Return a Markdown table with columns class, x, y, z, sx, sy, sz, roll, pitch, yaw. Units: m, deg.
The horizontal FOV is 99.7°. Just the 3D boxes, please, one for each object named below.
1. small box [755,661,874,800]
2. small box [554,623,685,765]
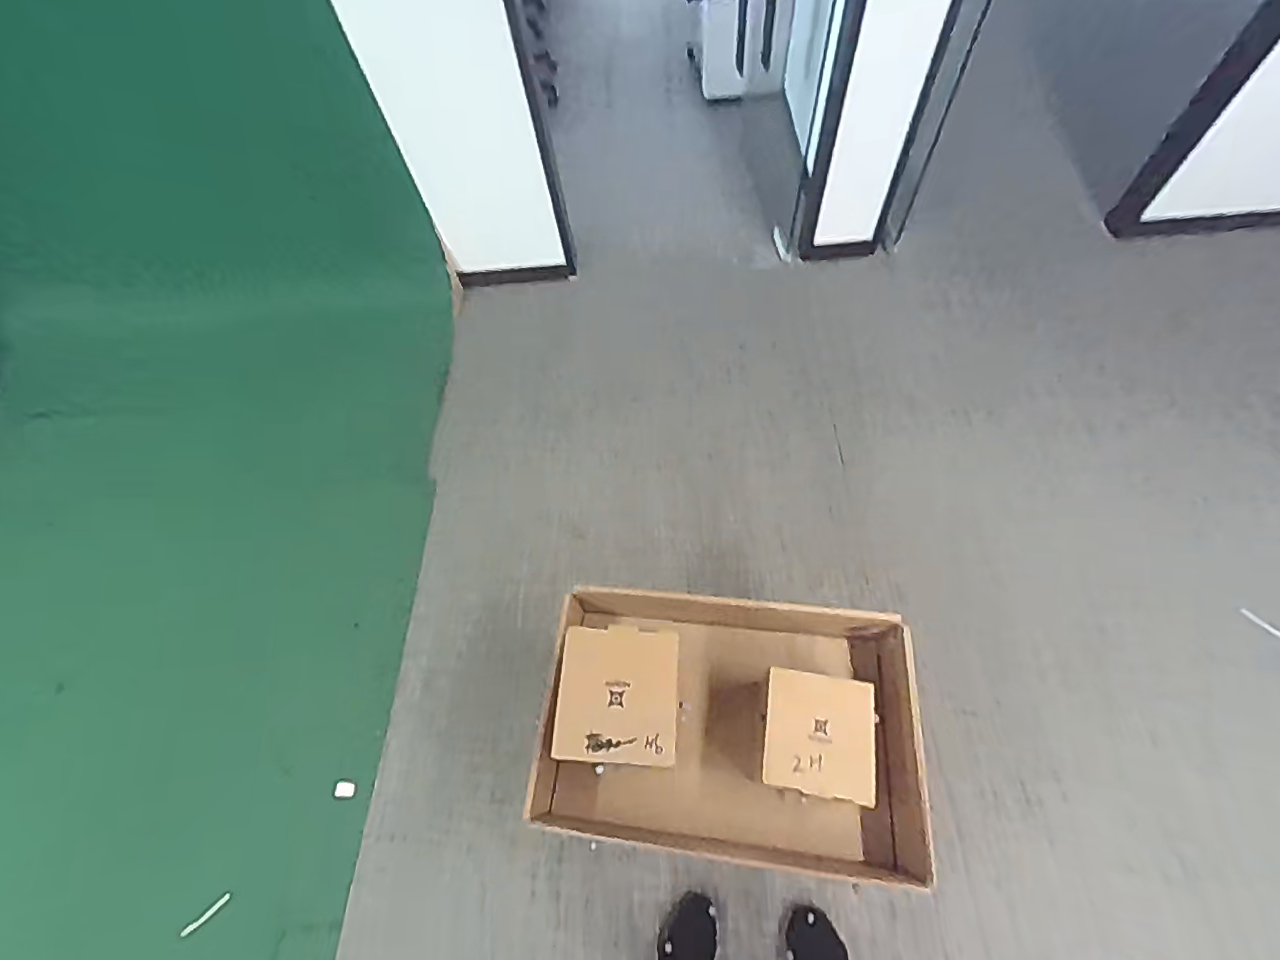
| class | x | y | z | sx | sy | sz | roll | pitch | yaw |
| --- | --- | --- | --- | --- | --- | --- | --- | --- | --- |
| small box | 0.291 | 0.426 | 0.921 | 0.168 | 0.176 | 0.179 | 7 | 64 | 11 |
| small box | -0.020 | 0.329 | 0.826 | 0.168 | 0.176 | 0.179 | 0 | 62 | 9 |
